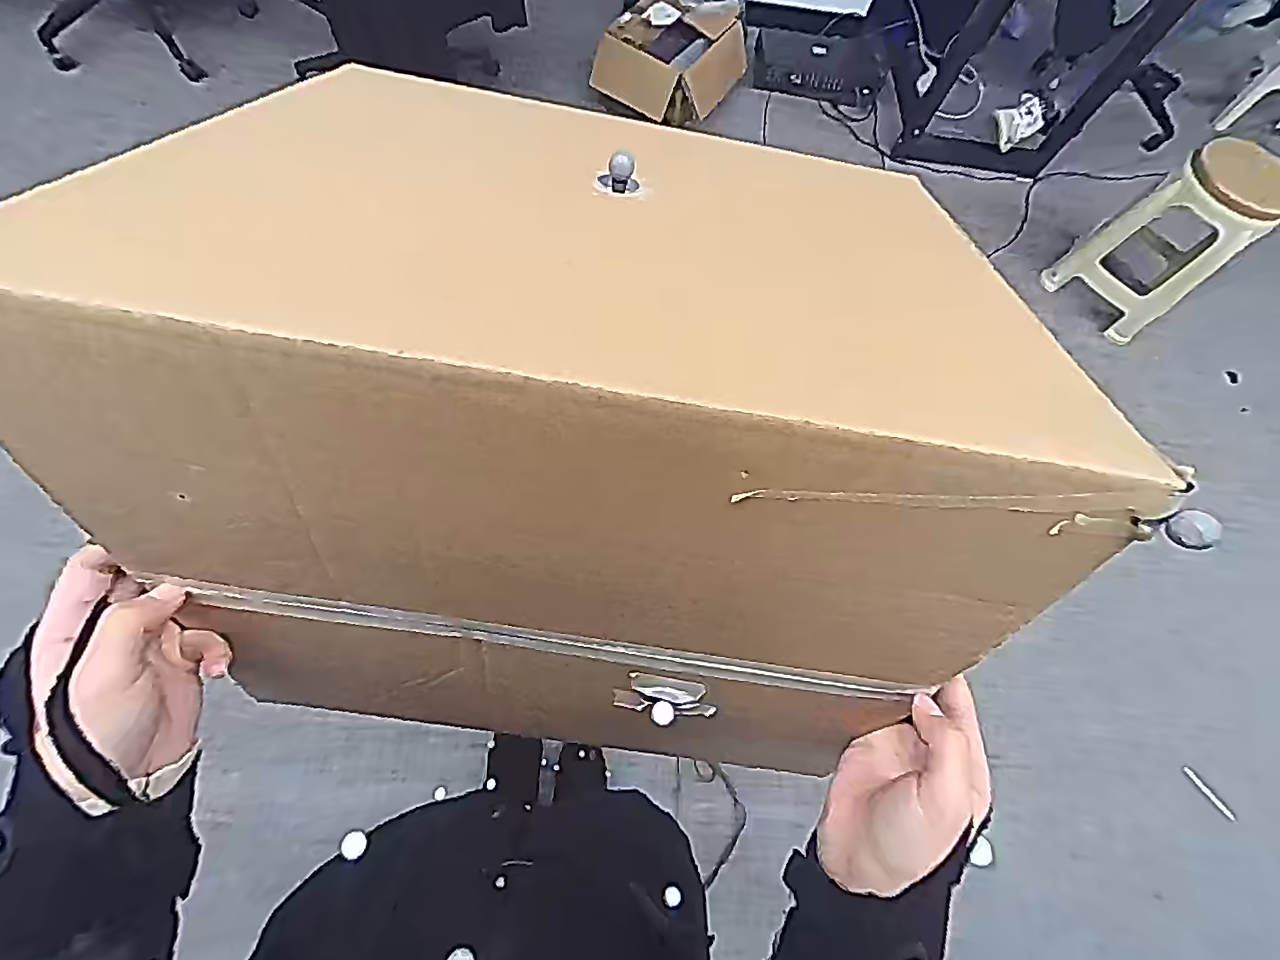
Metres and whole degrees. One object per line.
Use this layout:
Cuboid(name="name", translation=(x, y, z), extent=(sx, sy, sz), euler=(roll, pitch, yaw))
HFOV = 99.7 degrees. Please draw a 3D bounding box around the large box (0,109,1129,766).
Cuboid(name="large box", translation=(-0.037, -0.028, 0.387), extent=(0.408, 0.320, 0.320), euler=(8, 47, -3))
